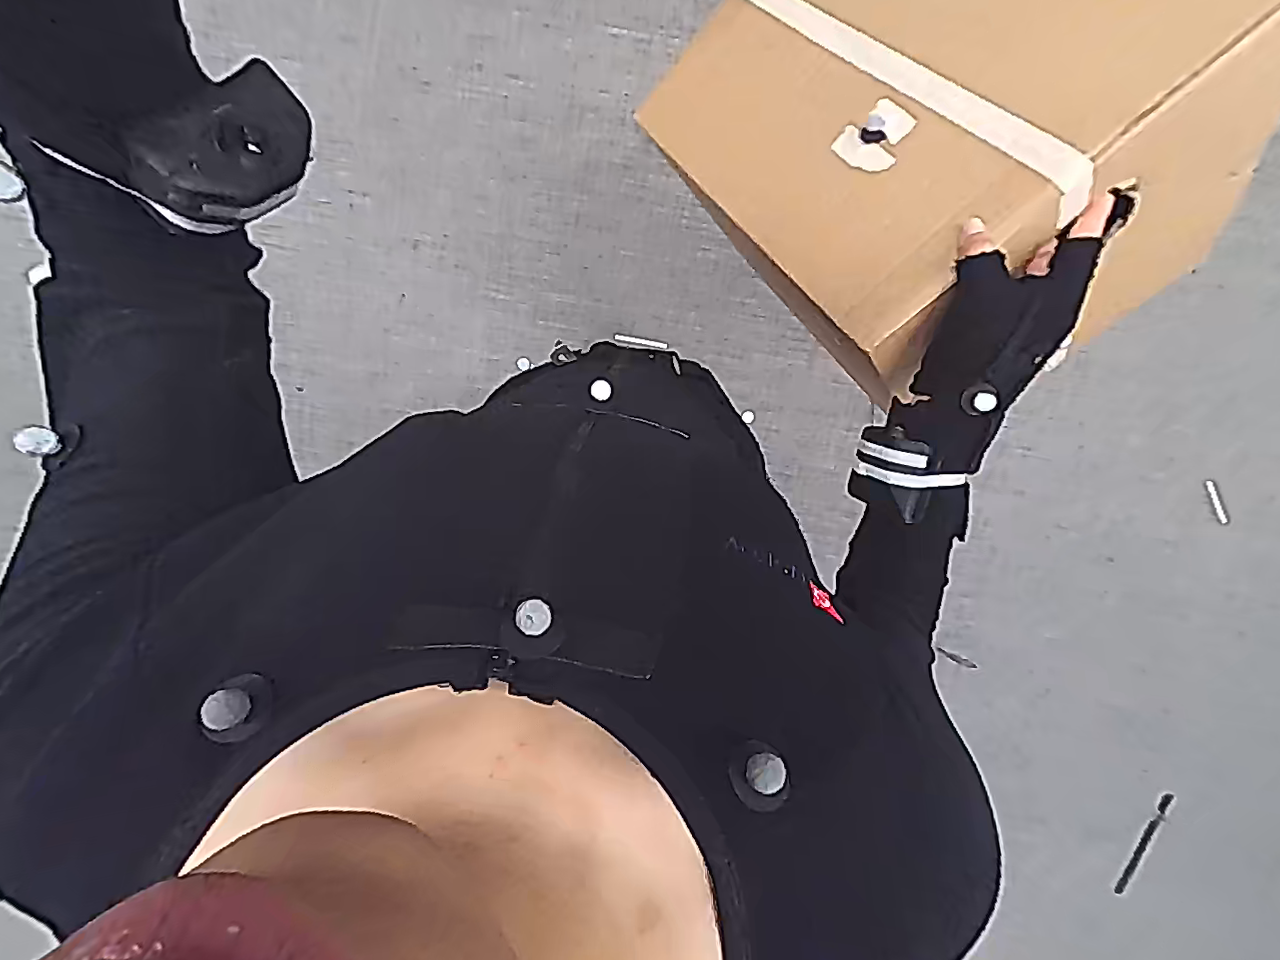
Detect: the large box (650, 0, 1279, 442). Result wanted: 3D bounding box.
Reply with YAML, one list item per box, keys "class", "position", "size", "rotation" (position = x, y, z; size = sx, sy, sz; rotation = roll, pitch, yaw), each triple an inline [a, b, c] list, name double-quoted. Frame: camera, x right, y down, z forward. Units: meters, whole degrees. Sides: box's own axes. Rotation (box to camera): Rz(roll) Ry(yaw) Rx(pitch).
- class: "large box"
  position: [0.283, -0.313, 0.566]
  size: [0.320, 0.320, 0.408]
  rotation: [-41, 58, 20]
